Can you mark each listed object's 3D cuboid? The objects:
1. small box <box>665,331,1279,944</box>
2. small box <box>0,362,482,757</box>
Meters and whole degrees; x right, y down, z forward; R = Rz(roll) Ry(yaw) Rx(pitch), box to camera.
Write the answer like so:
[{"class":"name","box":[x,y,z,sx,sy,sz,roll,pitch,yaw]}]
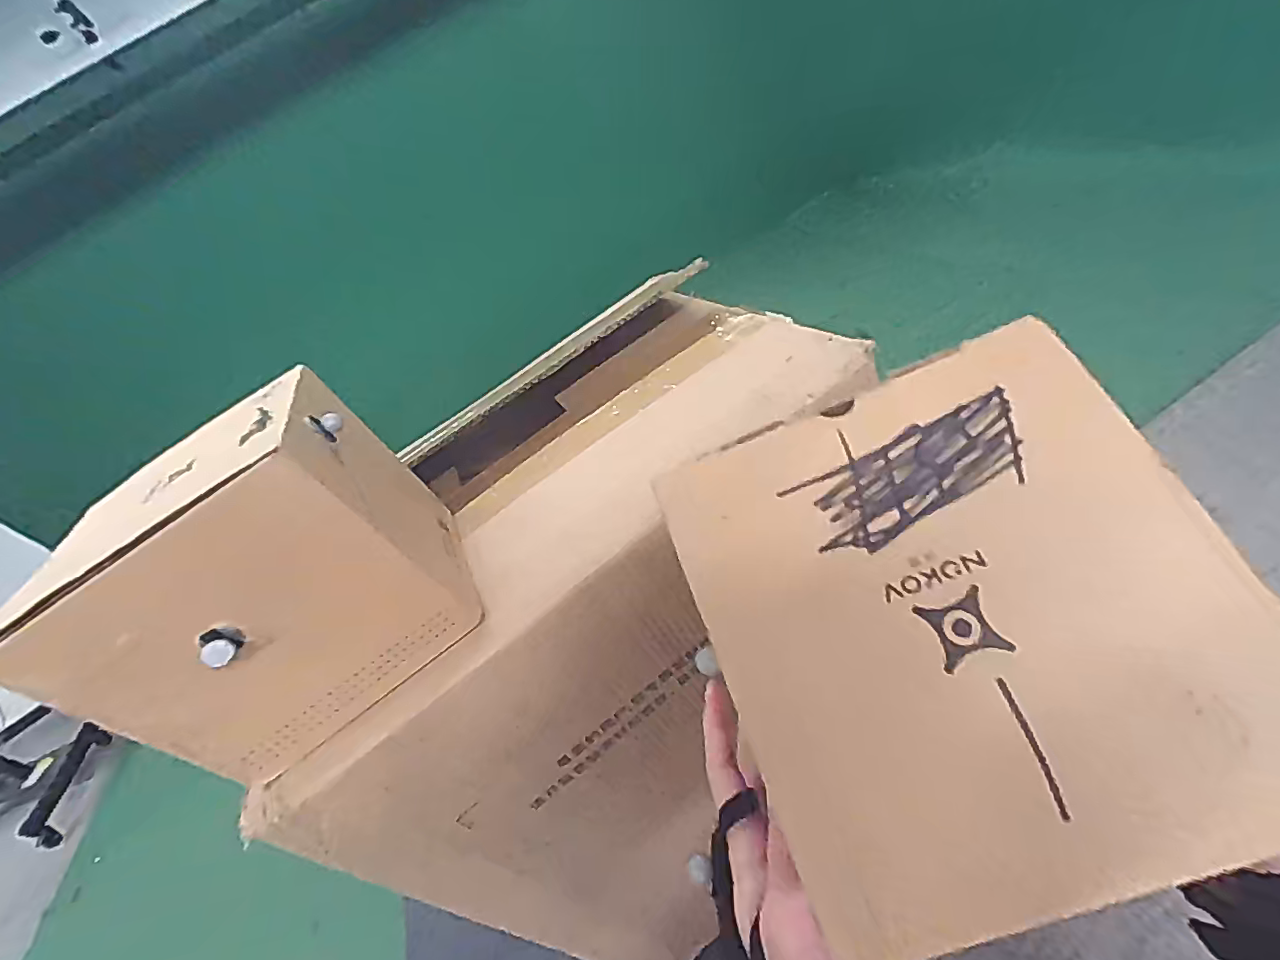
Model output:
[{"class":"small box","box":[0.128,0.069,0.266,0.168,0.176,0.179,-23,67,7]},{"class":"small box","box":[-0.242,0.053,0.379,0.179,0.176,0.168,-38,38,-5]}]
